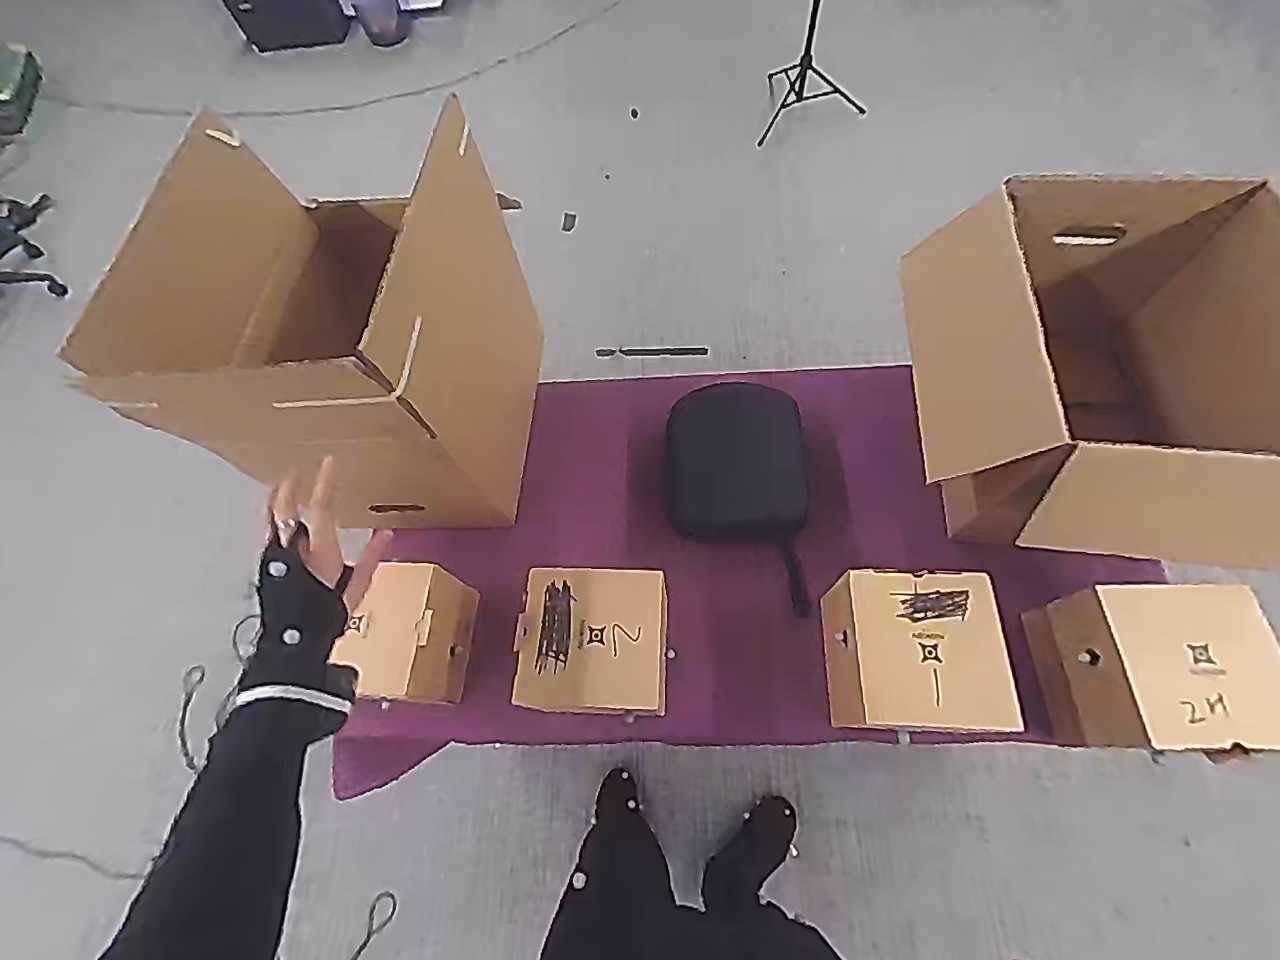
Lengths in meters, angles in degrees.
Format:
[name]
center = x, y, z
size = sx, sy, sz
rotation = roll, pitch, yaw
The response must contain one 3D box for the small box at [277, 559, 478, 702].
[small box]
center = -0.352, 0.218, 0.763
size = 0.179, 0.176, 0.168
rotation = 1, 65, 5
